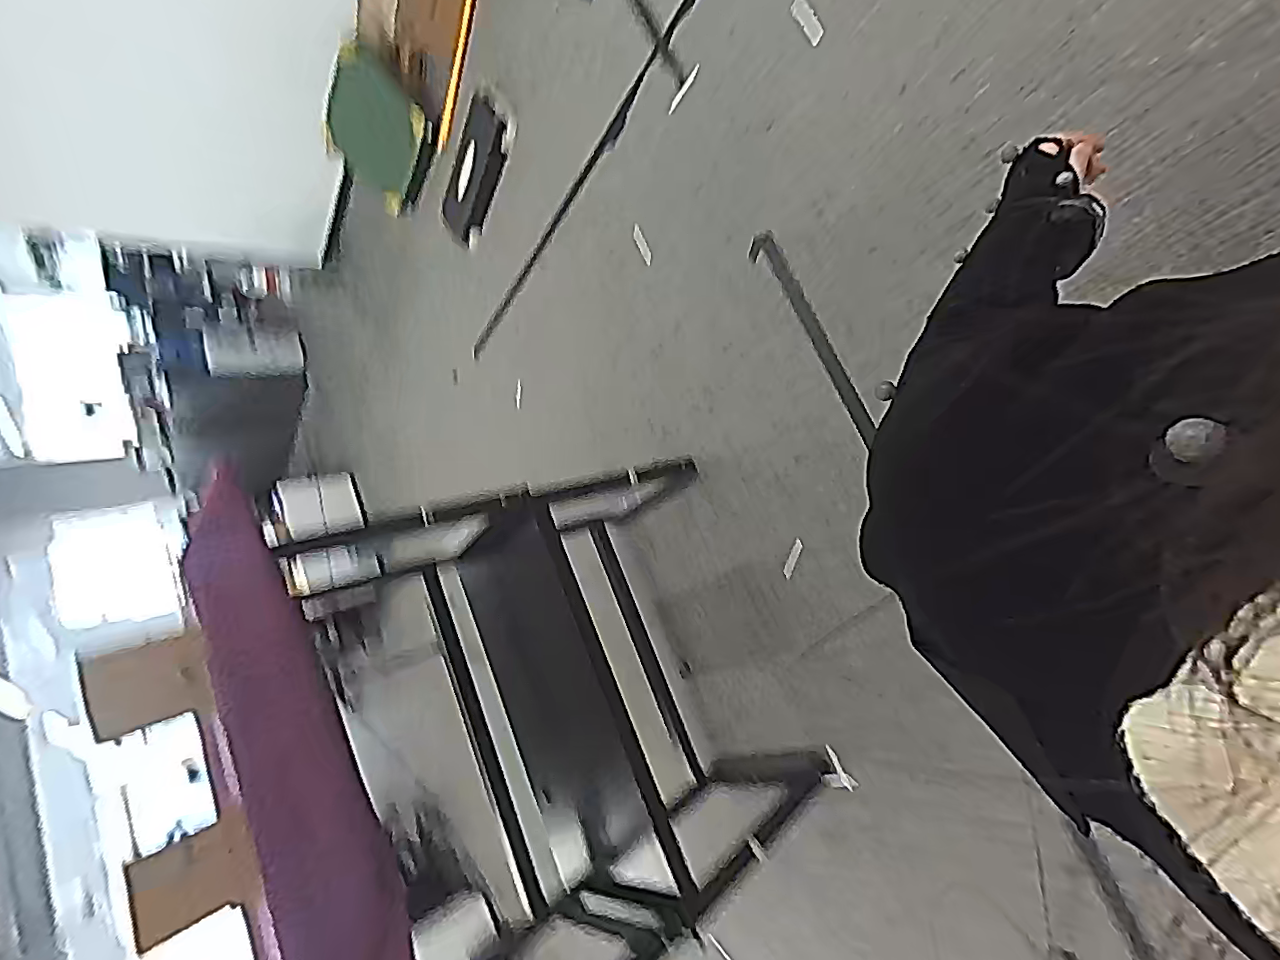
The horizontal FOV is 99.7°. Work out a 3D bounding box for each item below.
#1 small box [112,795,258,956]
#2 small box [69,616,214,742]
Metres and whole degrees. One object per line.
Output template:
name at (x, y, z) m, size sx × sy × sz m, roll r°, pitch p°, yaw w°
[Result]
small box at (-0.816, 0.696, 0.977) m, size 0.168 × 0.176 × 0.179 m, roll -41°, pitch 70°, yaw 44°
small box at (-0.925, 0.365, 1.012) m, size 0.168 × 0.176 × 0.179 m, roll -29°, pitch 78°, yaw 47°
